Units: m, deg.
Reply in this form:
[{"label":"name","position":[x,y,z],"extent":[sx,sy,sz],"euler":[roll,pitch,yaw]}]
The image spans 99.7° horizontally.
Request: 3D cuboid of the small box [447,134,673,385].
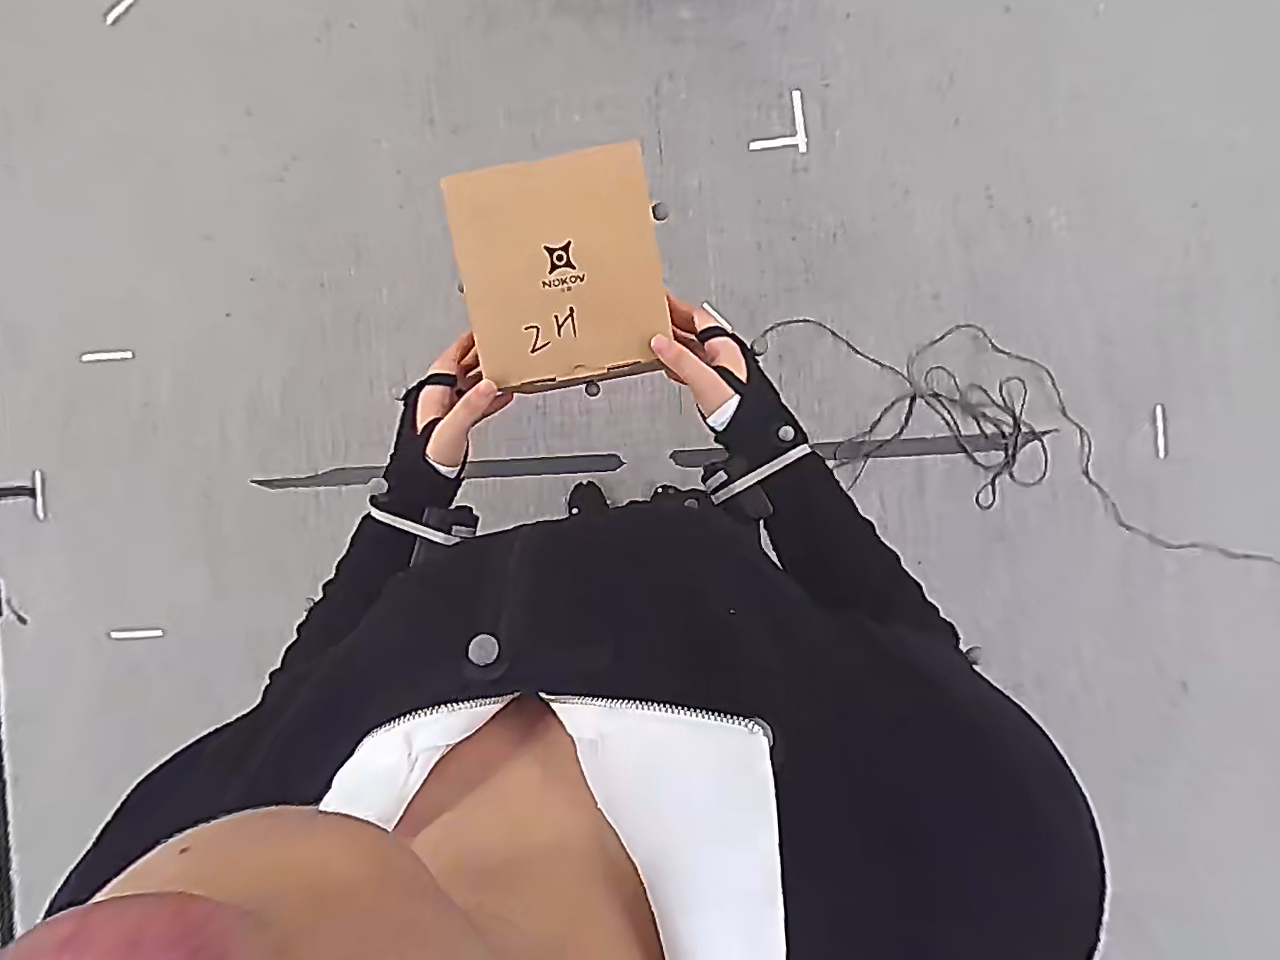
[{"label":"small box","position":[-0.065,-0.194,0.526],"extent":[0.168,0.176,0.179],"euler":[-9,98,1]}]
